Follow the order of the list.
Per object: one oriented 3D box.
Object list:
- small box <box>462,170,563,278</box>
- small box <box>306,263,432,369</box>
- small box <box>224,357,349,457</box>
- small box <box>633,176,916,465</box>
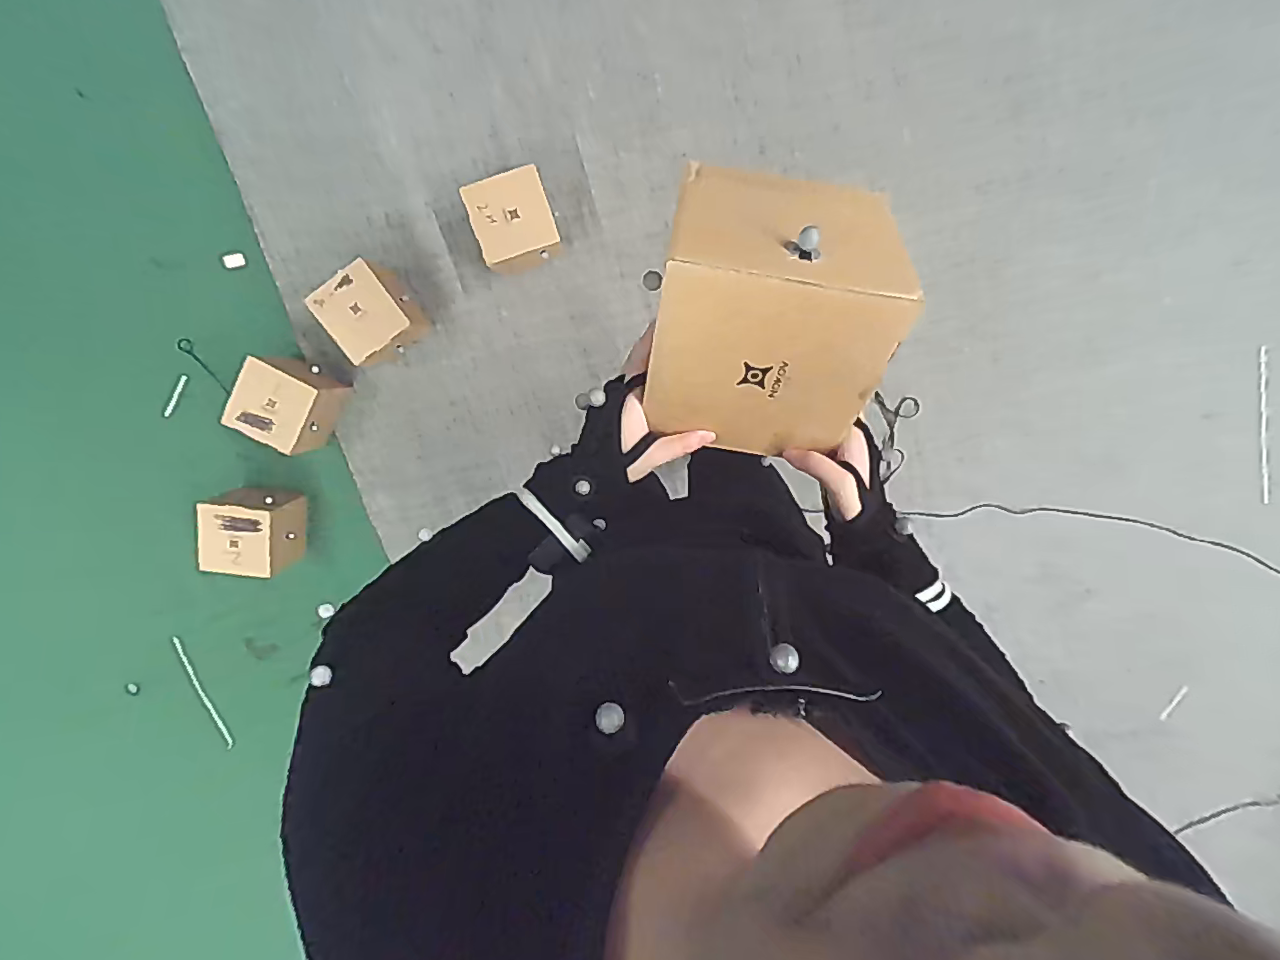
[{"bbox_3d":[-0.285,-0.584,1.254,0.179,0.176,0.168,-18,102,0],"label":"small box"},{"bbox_3d":[-0.627,-0.382,1.280,0.168,0.176,0.179,-34,103,4],"label":"small box"},{"bbox_3d":[-0.845,-0.179,1.312,0.168,0.176,0.179,28,99,-9],"label":"small box"},{"bbox_3d":[0.097,-0.139,0.468,0.179,0.176,0.168,9,139,-1],"label":"small box"}]
